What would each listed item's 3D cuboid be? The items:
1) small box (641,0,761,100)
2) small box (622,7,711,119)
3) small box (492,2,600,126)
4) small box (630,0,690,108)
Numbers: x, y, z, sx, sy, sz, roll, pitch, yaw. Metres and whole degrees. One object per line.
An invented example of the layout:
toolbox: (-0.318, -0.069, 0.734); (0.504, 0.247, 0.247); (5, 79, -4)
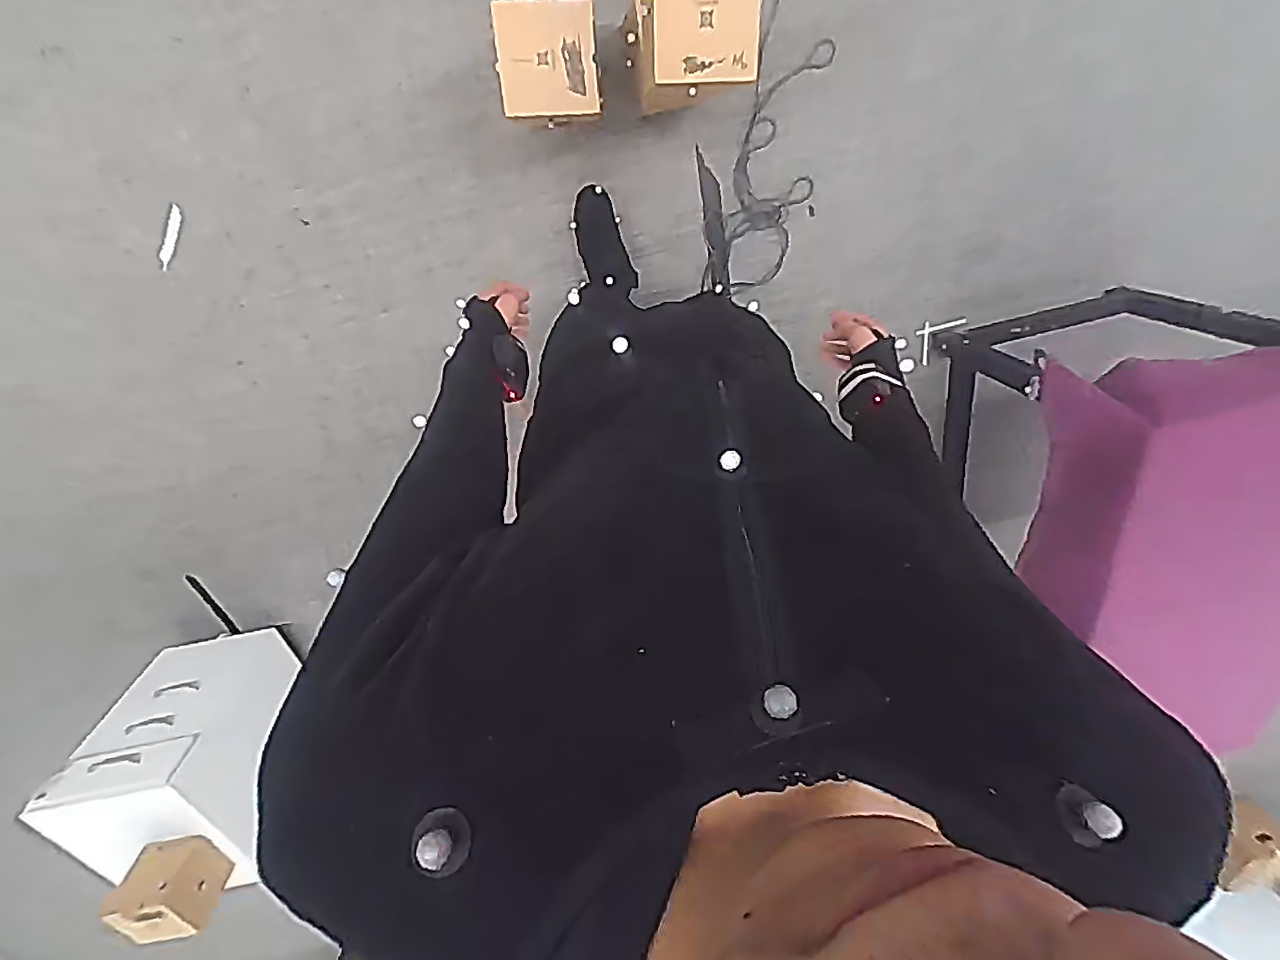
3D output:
small box: (0.093, -0.740, 0.884); (0.168, 0.176, 0.179); (-4, 119, -4)
small box: (0.061, -0.903, 1.165); (0.168, 0.176, 0.179); (-12, 120, 0)
small box: (-0.170, -0.774, 1.018); (0.179, 0.176, 0.168); (-4, 120, -3)
small box: (0.078, -0.823, 1.025); (0.179, 0.176, 0.168); (-11, 120, 0)
